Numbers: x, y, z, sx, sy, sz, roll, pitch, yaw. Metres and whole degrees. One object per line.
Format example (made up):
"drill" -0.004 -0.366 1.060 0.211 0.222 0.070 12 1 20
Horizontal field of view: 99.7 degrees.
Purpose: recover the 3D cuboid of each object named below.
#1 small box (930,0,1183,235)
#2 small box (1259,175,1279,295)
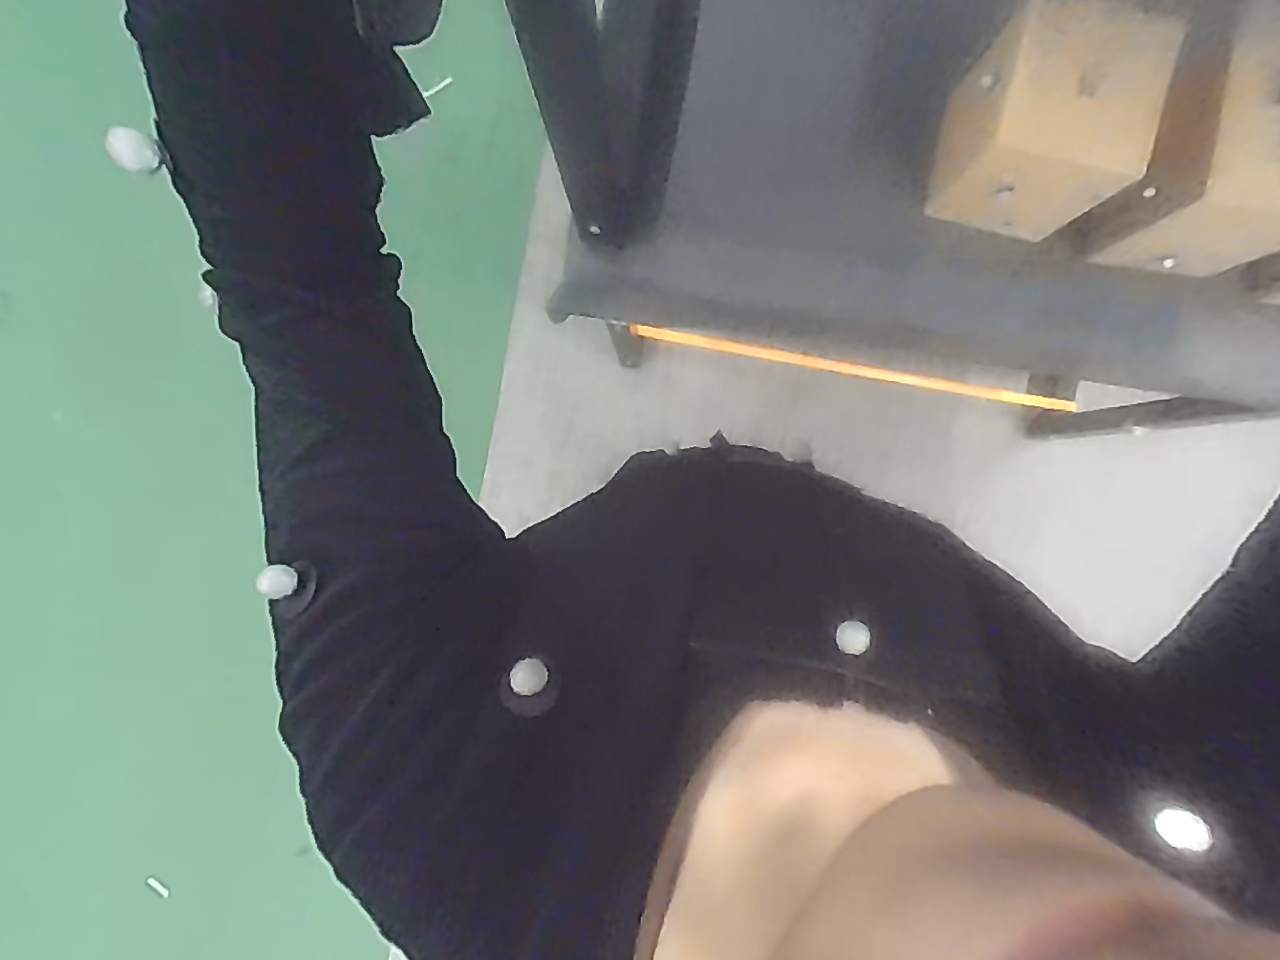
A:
"small box" 0.490 -0.434 0.668 0.168 0.176 0.179 14 90 2
"small box" 0.923 -0.319 0.650 0.168 0.176 0.179 9 90 1
